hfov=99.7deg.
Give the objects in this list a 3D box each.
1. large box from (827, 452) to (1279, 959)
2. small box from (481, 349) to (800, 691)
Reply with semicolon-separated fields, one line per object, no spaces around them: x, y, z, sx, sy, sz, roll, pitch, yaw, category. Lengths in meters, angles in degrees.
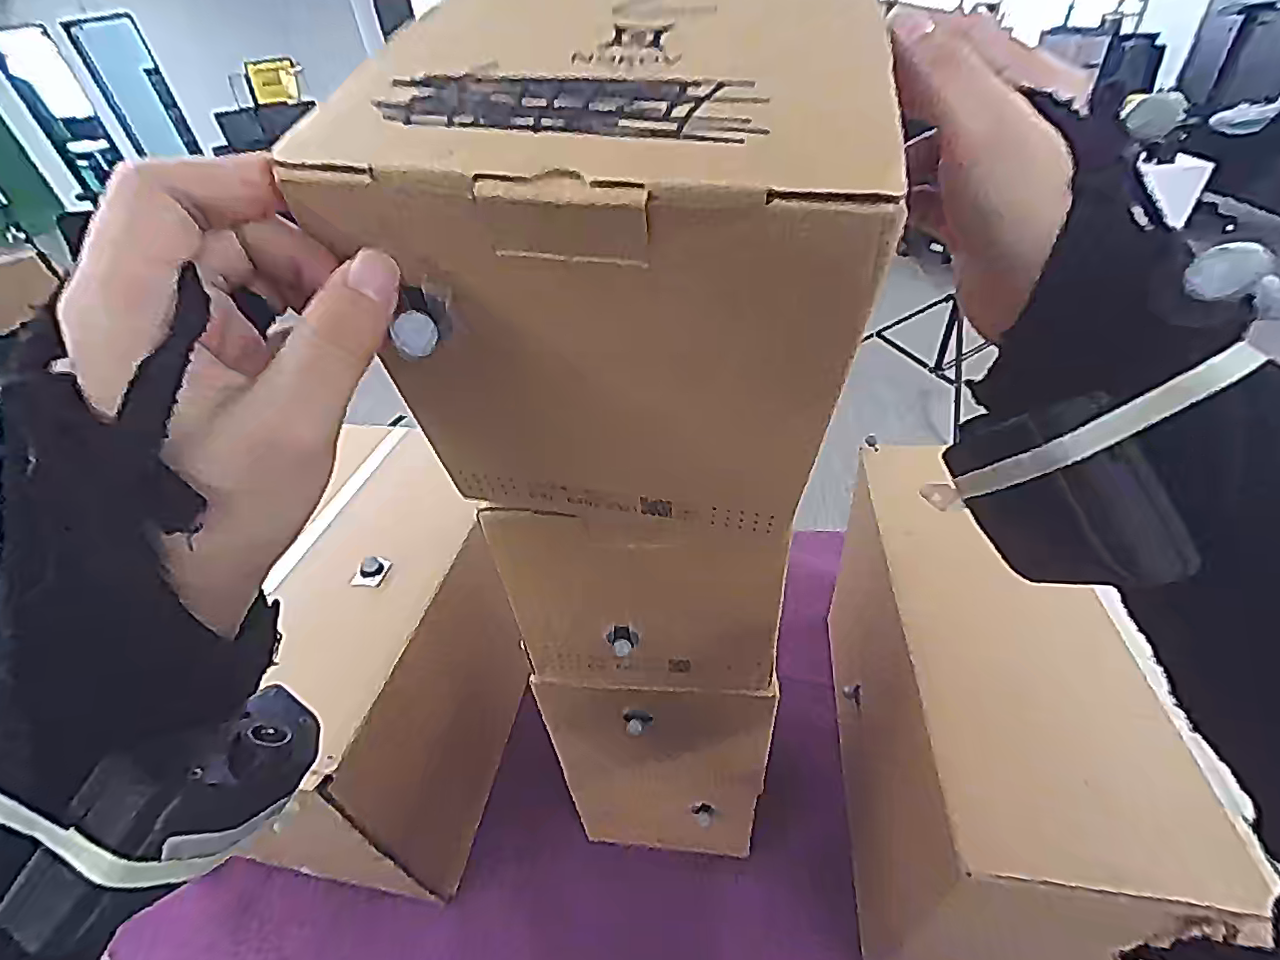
0.371;0.216;0.508;0.320;0.320;0.408;2;39;10;large box
0.009;0.022;0.384;0.168;0.176;0.179;-1;40;6;small box
